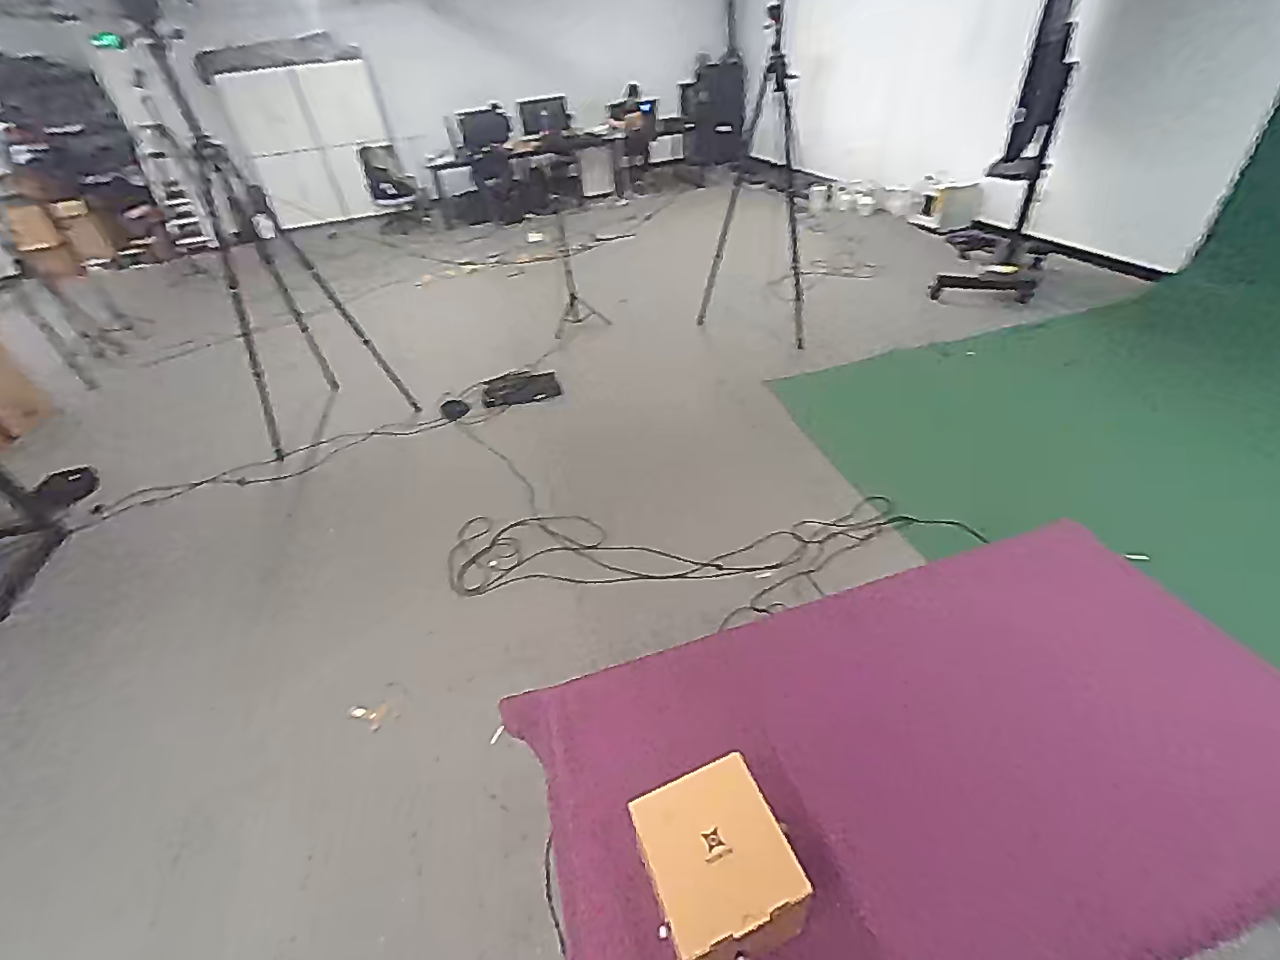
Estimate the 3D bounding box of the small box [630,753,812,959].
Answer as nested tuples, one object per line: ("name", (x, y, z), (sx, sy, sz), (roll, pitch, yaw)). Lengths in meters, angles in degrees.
("small box", (0.096, 0.505, 0.705), (0.168, 0.176, 0.179), (-18, 40, -14))
